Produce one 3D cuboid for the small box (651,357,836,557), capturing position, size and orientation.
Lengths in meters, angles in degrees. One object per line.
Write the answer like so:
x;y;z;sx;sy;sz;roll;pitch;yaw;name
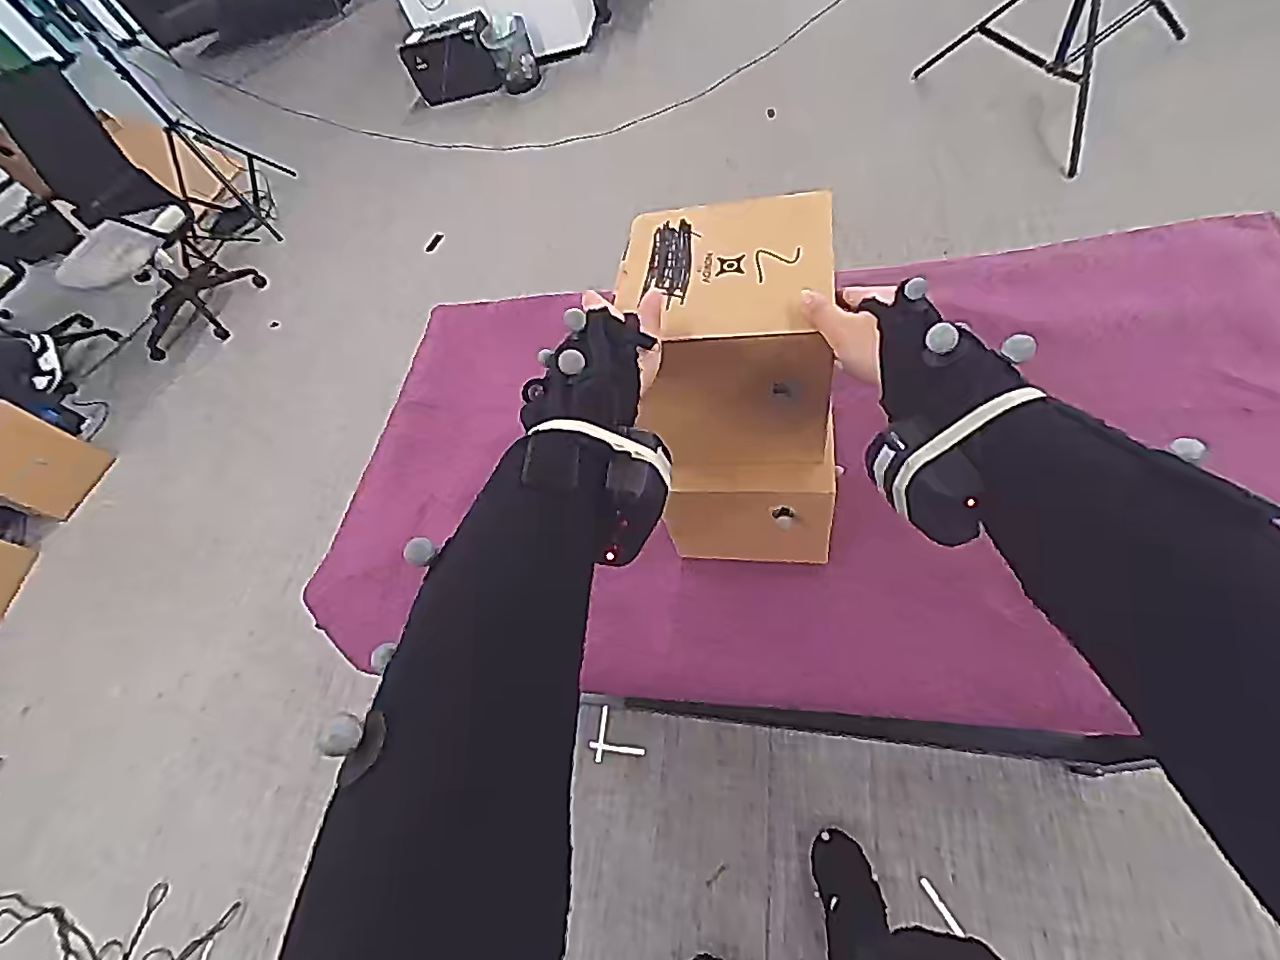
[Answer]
0.124;-0.020;0.619;0.179;0.176;0.168;0;58;16;small box
